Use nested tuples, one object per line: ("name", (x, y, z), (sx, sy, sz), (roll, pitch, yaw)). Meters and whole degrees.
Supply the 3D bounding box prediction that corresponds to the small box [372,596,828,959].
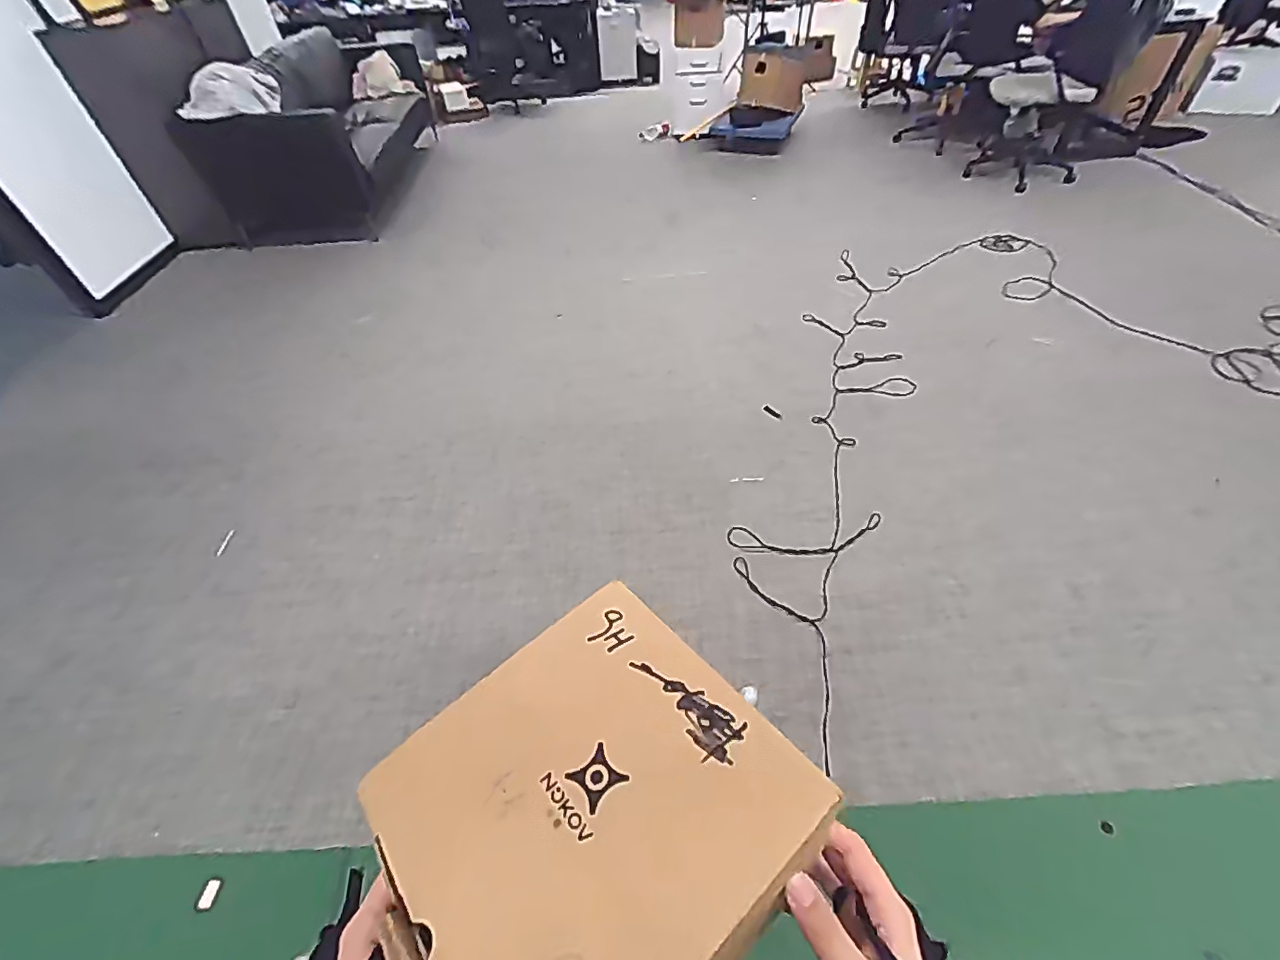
("small box", (-0.013, 0.213, 0.320), (0.179, 0.176, 0.168), (-36, 49, -22))
